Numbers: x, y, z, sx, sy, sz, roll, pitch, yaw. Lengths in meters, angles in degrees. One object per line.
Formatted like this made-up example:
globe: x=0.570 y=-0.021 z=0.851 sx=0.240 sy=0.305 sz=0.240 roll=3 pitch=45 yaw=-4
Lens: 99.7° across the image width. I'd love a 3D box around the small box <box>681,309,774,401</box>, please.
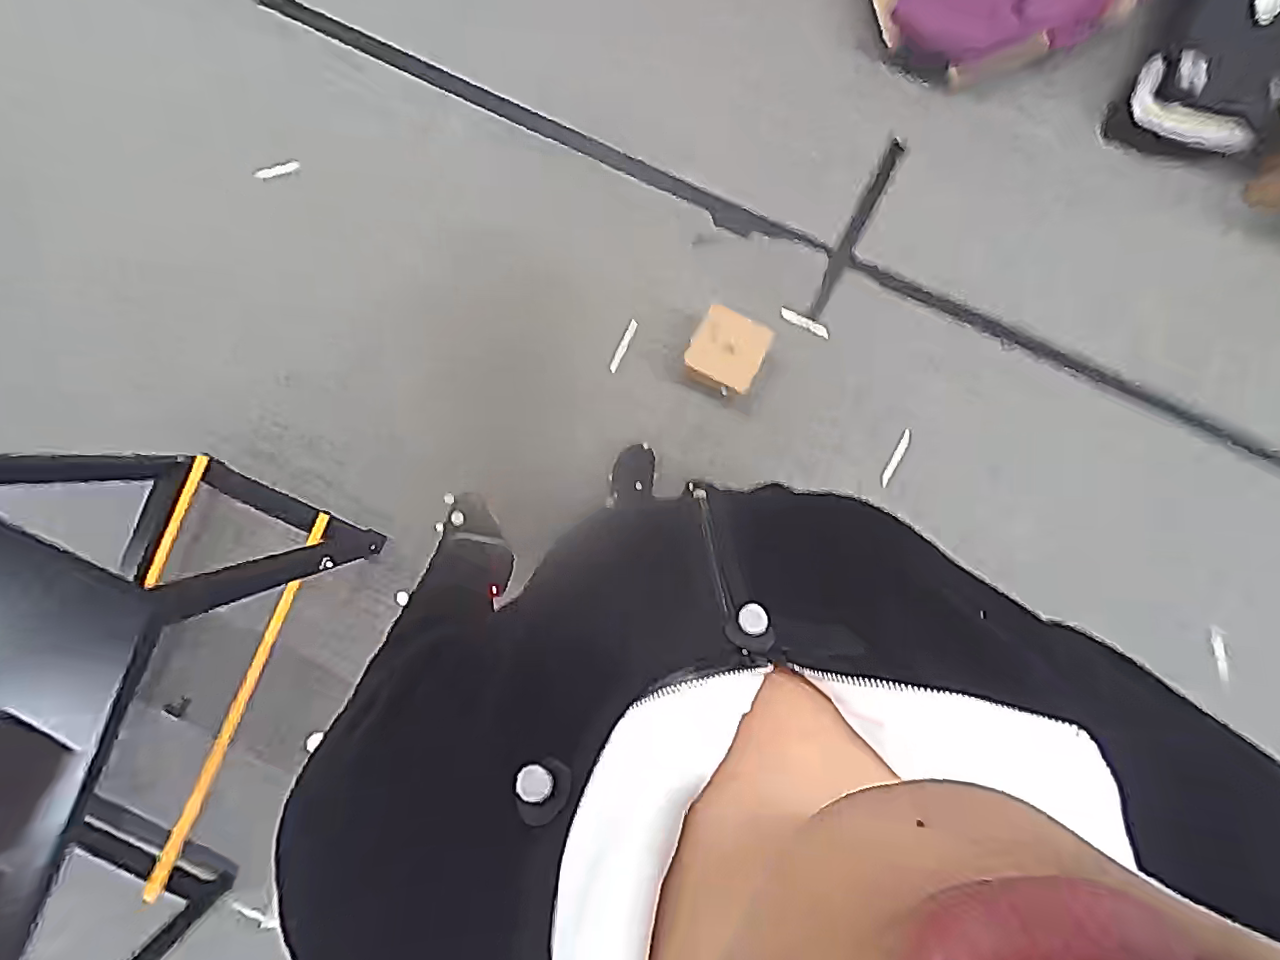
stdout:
small box: x=0.218 y=-0.315 z=1.404 sx=0.179 sy=0.176 sz=0.168 roll=28 pitch=93 yaw=1
